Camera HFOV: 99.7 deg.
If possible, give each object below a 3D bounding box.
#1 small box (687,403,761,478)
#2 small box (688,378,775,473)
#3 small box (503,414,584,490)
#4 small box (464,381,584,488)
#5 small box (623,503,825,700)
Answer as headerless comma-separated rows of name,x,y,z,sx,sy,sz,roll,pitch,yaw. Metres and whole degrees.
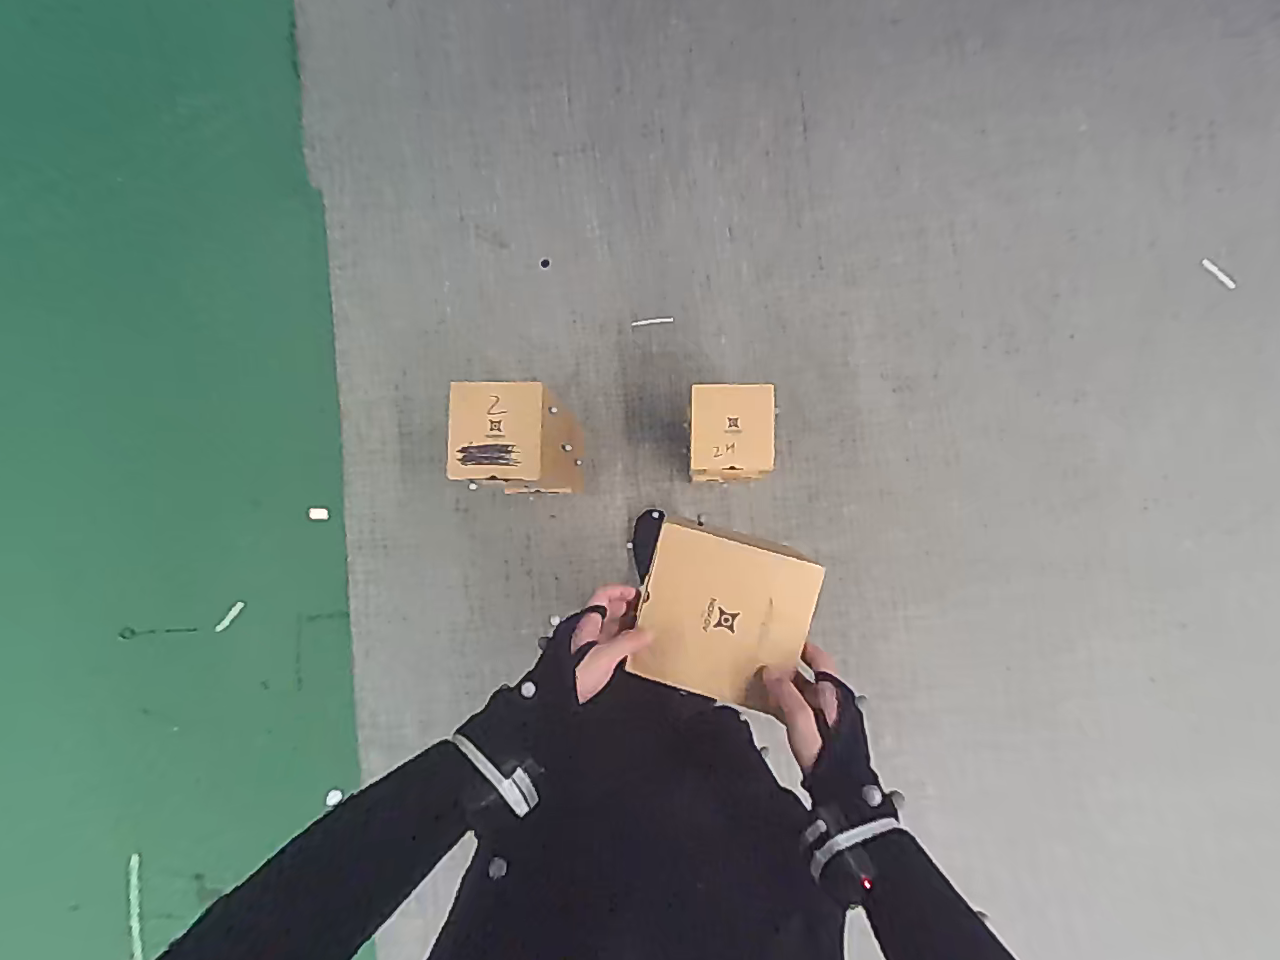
small box,0.201,-0.093,1.324,0.168,0.176,0.179,-3,88,3
small box,0.190,-0.111,1.160,0.168,0.176,0.179,2,87,5
small box,-0.235,-0.066,1.350,0.168,0.176,0.179,0,86,3
small box,-0.247,-0.092,1.197,0.179,0.176,0.168,32,91,5
small box,0.093,0.128,0.645,0.179,0.176,0.168,16,92,4
